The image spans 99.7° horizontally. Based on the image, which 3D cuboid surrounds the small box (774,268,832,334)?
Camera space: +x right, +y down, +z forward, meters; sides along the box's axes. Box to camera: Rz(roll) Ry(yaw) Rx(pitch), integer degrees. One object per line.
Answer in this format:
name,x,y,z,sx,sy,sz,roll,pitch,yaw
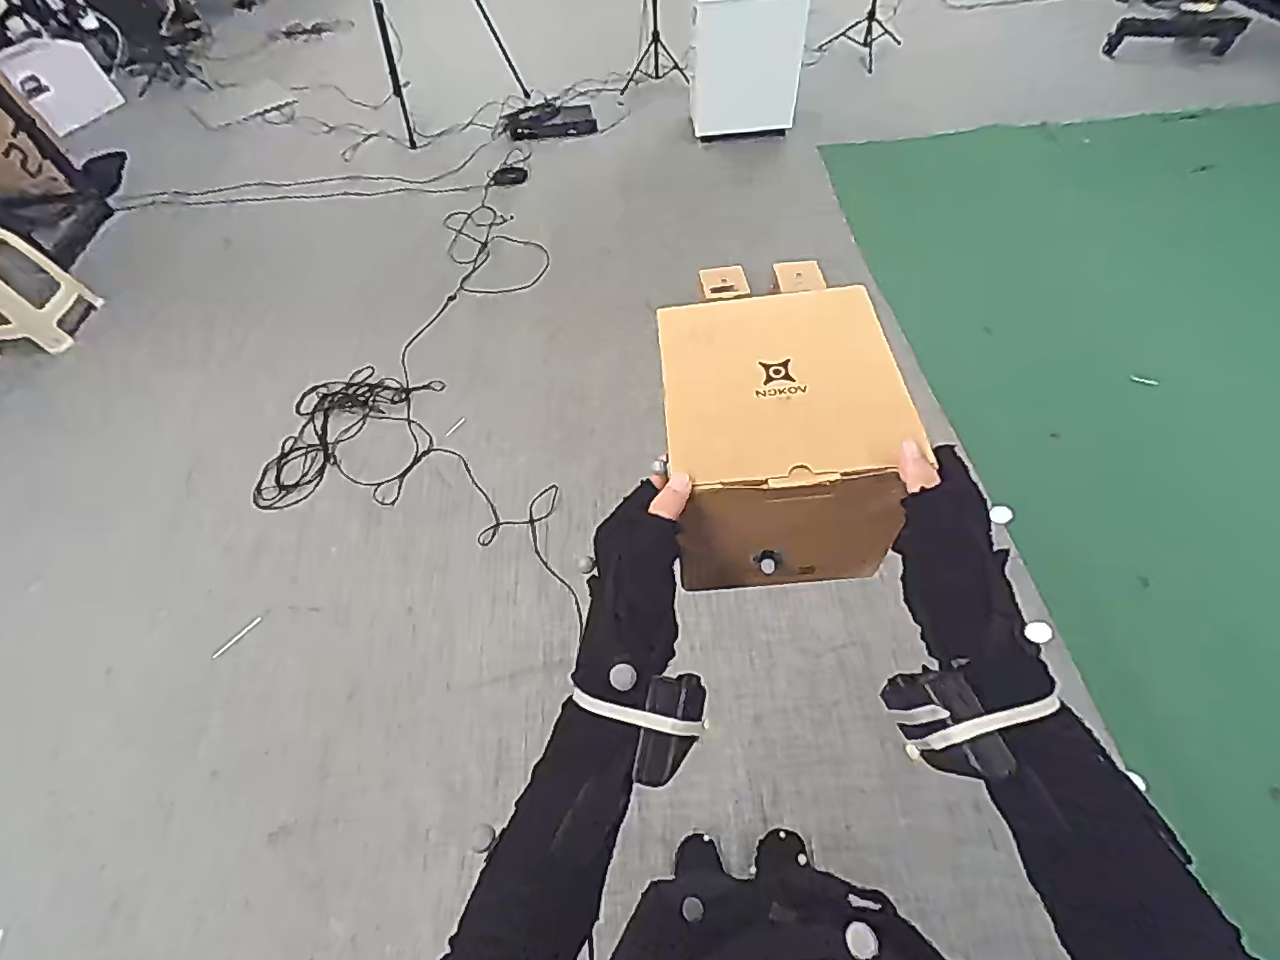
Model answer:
small box,0.617,-0.684,2.074,0.168,0.176,0.179,-5,56,2
